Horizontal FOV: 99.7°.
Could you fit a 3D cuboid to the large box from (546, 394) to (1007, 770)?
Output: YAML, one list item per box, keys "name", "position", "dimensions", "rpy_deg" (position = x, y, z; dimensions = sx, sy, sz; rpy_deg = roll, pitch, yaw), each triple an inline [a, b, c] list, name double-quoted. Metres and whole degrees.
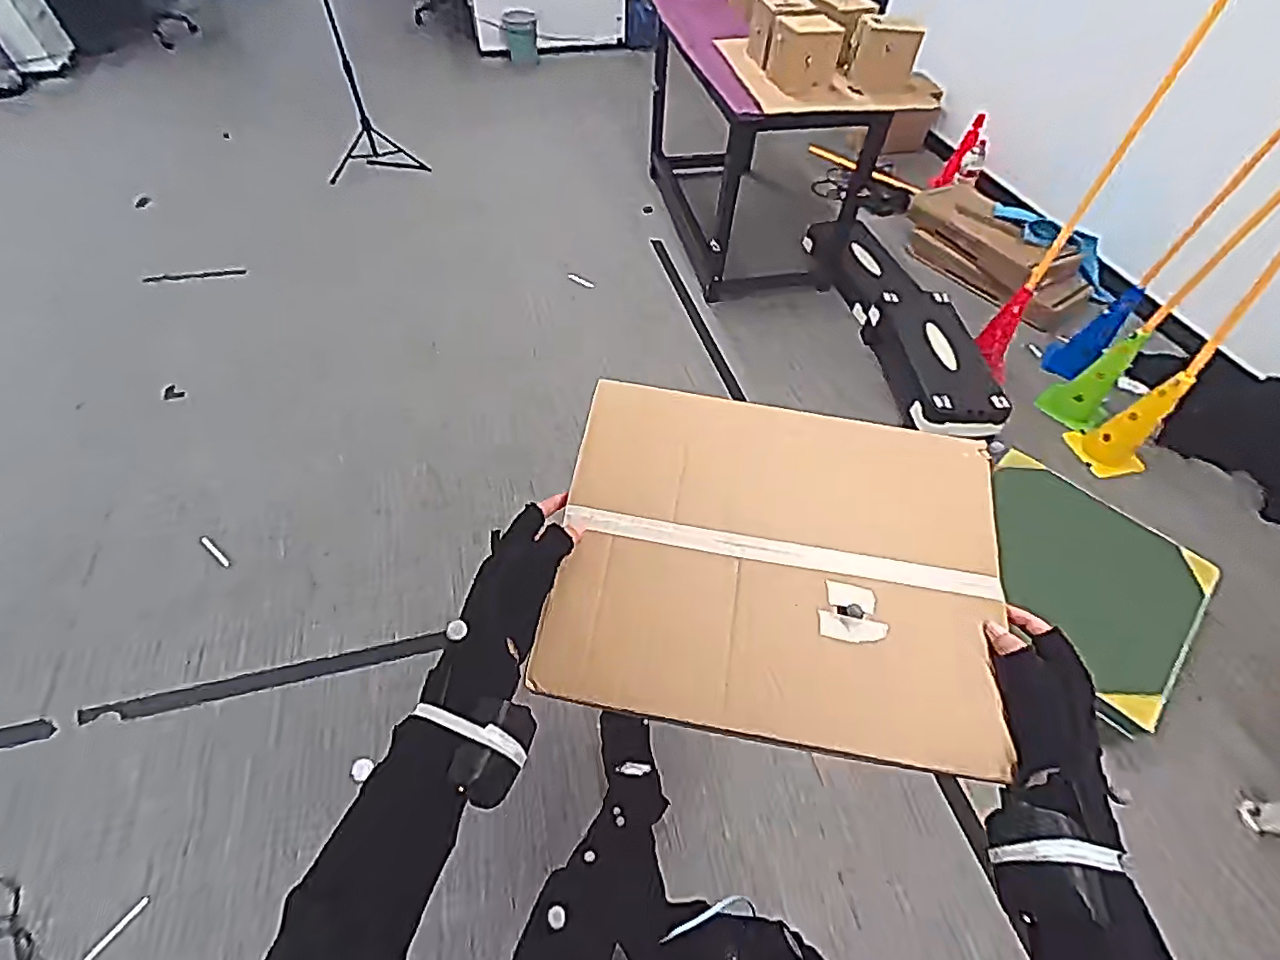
- name: "large box"
  position: [0.131, 0.133, 0.653]
  dimensions: [0.408, 0.320, 0.320]
  rpy_deg: [10, 67, 3]
